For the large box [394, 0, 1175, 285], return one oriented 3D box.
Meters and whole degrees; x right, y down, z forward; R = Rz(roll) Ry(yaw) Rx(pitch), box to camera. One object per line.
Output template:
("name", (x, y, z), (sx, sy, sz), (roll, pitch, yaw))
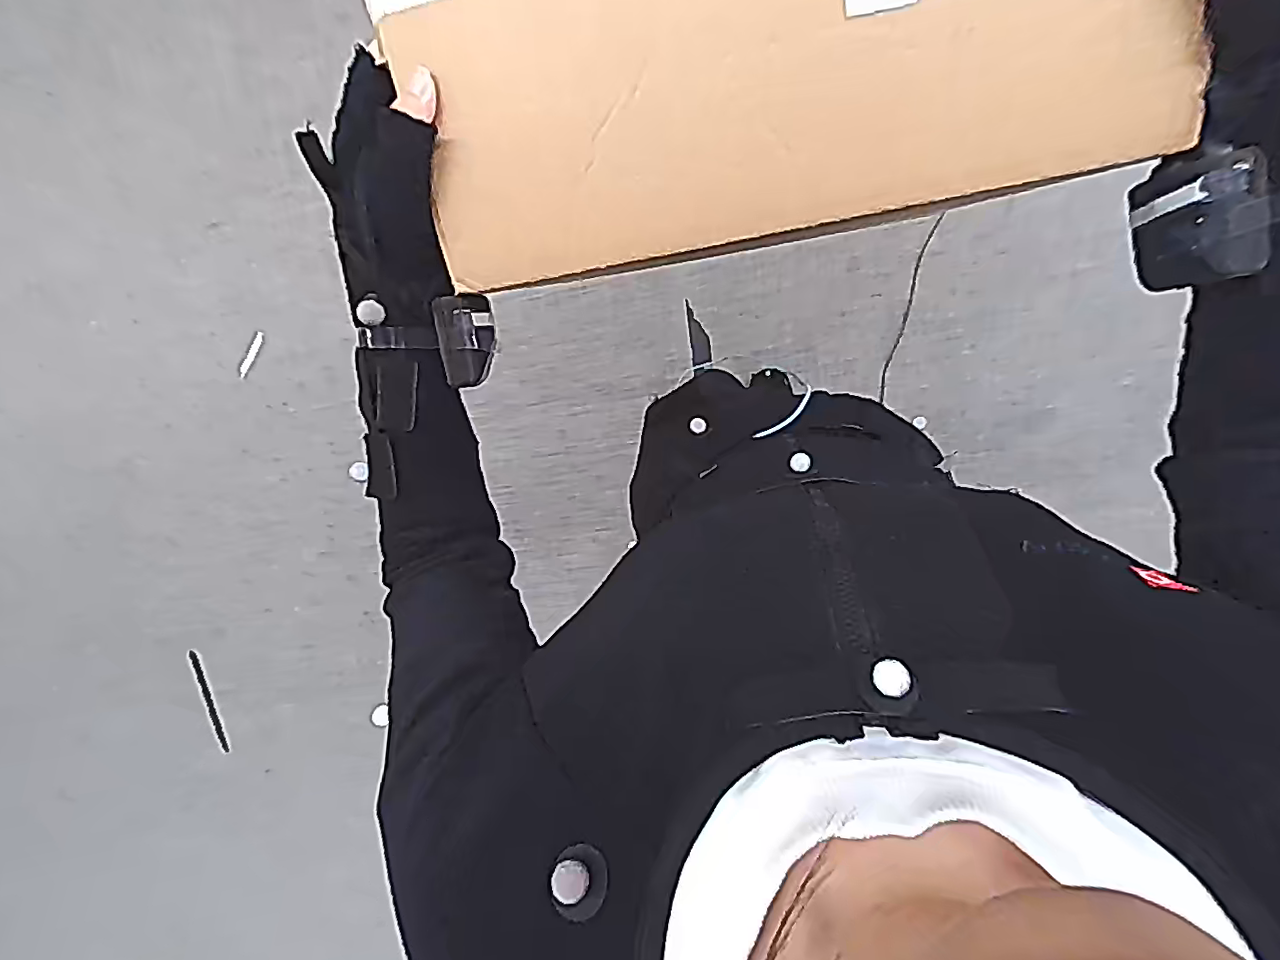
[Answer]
("large box", (0.069, -0.350, 0.409), (0.408, 0.320, 0.320), (-8, 111, 10))
